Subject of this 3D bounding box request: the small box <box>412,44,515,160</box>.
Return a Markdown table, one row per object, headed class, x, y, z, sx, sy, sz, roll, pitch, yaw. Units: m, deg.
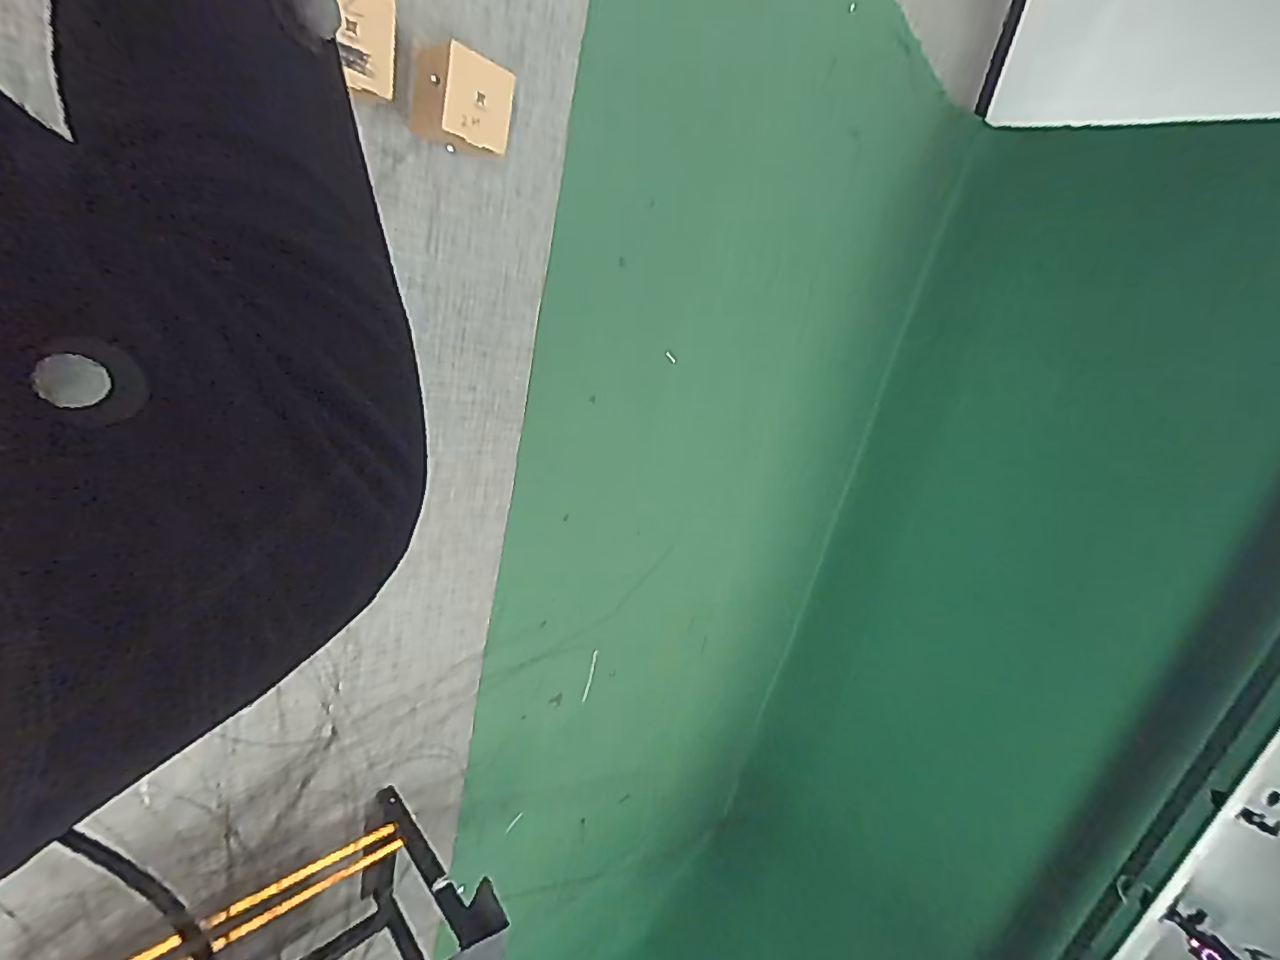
| class | x | y | z | sx | sy | sz | roll | pitch | yaw |
| --- | --- | --- | --- | --- | --- | --- | --- | --- | --- |
| small box | -0.427 | -0.894 | 1.296 | 0.168 | 0.176 | 0.179 | -4 | 115 | -47 |
